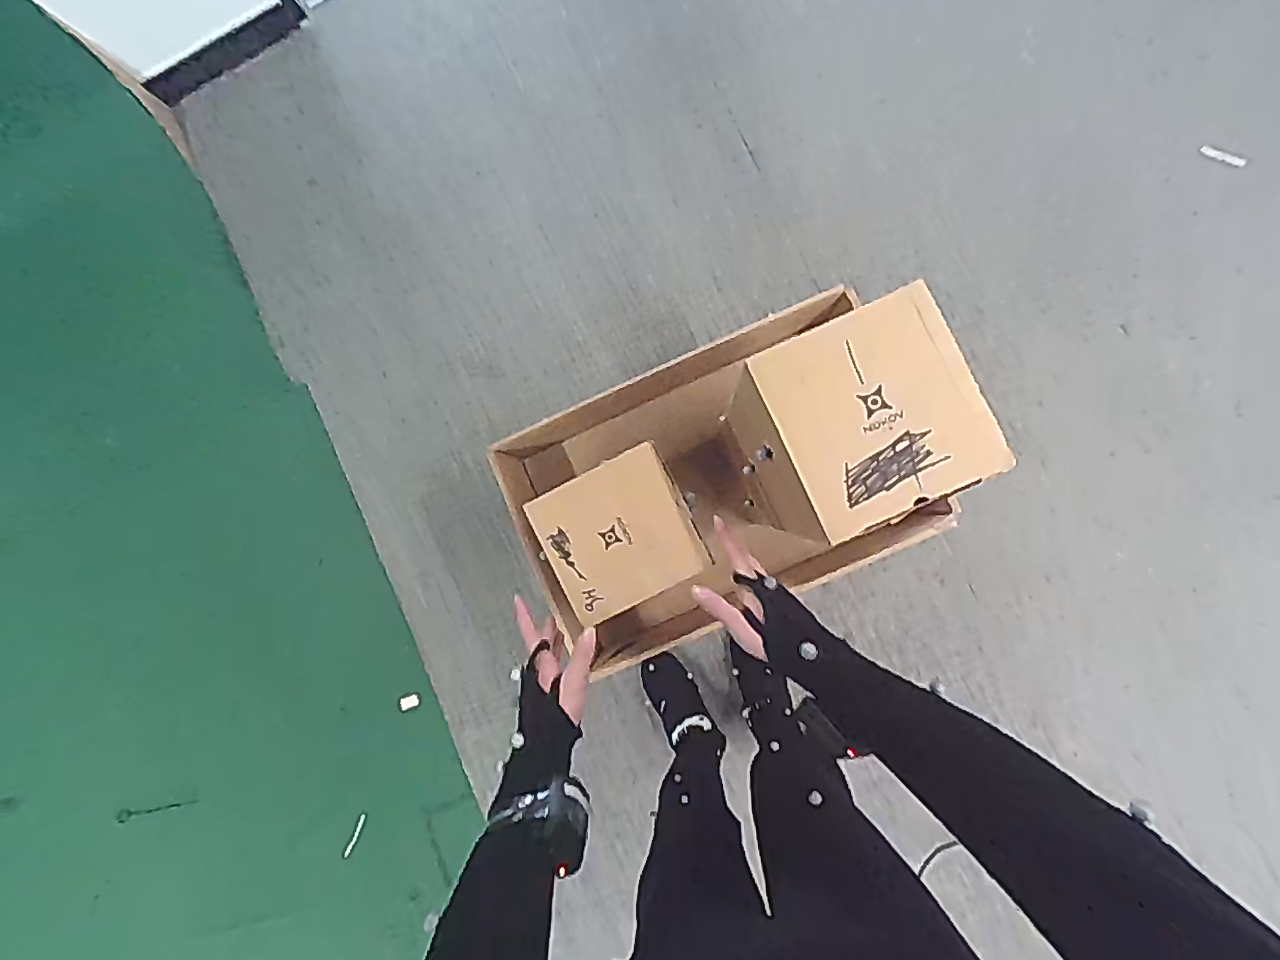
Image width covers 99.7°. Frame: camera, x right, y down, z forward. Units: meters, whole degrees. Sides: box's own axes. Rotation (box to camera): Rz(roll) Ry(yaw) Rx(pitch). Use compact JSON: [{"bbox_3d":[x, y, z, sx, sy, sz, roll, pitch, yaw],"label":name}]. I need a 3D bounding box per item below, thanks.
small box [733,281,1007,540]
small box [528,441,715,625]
[{"bbox_3d":[0.203,-0.056,0.533,0.168,0.176,0.179,-24,85,4],"label":"small box"},{"bbox_3d":[-0.019,0.065,0.714,0.179,0.176,0.168,-26,85,2],"label":"small box"}]
